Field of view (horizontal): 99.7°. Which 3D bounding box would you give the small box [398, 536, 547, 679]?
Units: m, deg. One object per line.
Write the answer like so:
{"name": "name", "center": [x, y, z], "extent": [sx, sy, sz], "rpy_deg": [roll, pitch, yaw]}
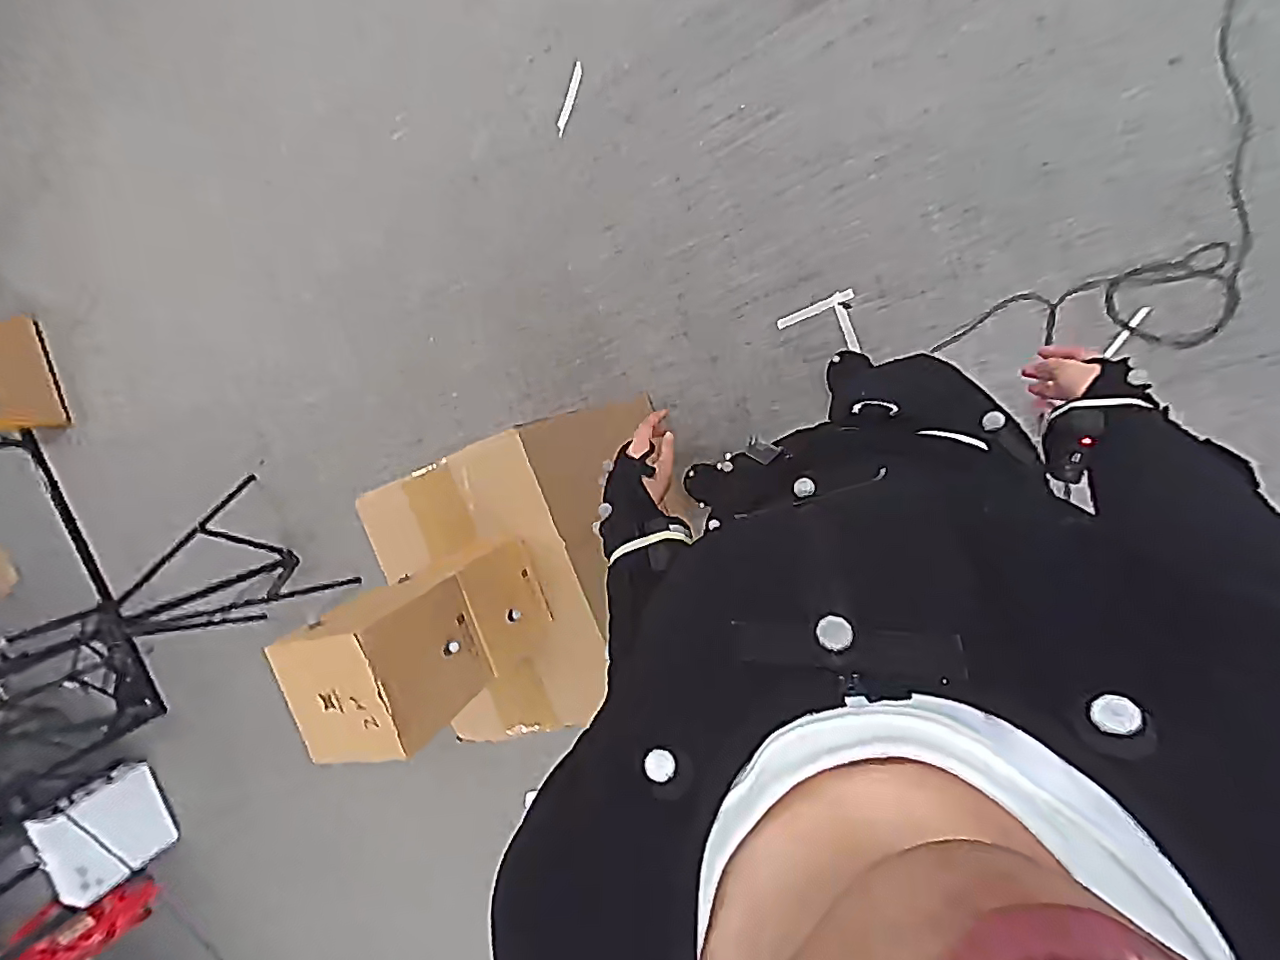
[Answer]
{"name": "small box", "center": [-0.269, 0.202, 0.856], "extent": [0.179, 0.176, 0.168], "rpy_deg": [-17, 97, 24]}

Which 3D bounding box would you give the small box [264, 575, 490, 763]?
{"name": "small box", "center": [-0.332, 0.240, 0.708], "extent": [0.179, 0.176, 0.168], "rpy_deg": [-14, 99, 23]}
